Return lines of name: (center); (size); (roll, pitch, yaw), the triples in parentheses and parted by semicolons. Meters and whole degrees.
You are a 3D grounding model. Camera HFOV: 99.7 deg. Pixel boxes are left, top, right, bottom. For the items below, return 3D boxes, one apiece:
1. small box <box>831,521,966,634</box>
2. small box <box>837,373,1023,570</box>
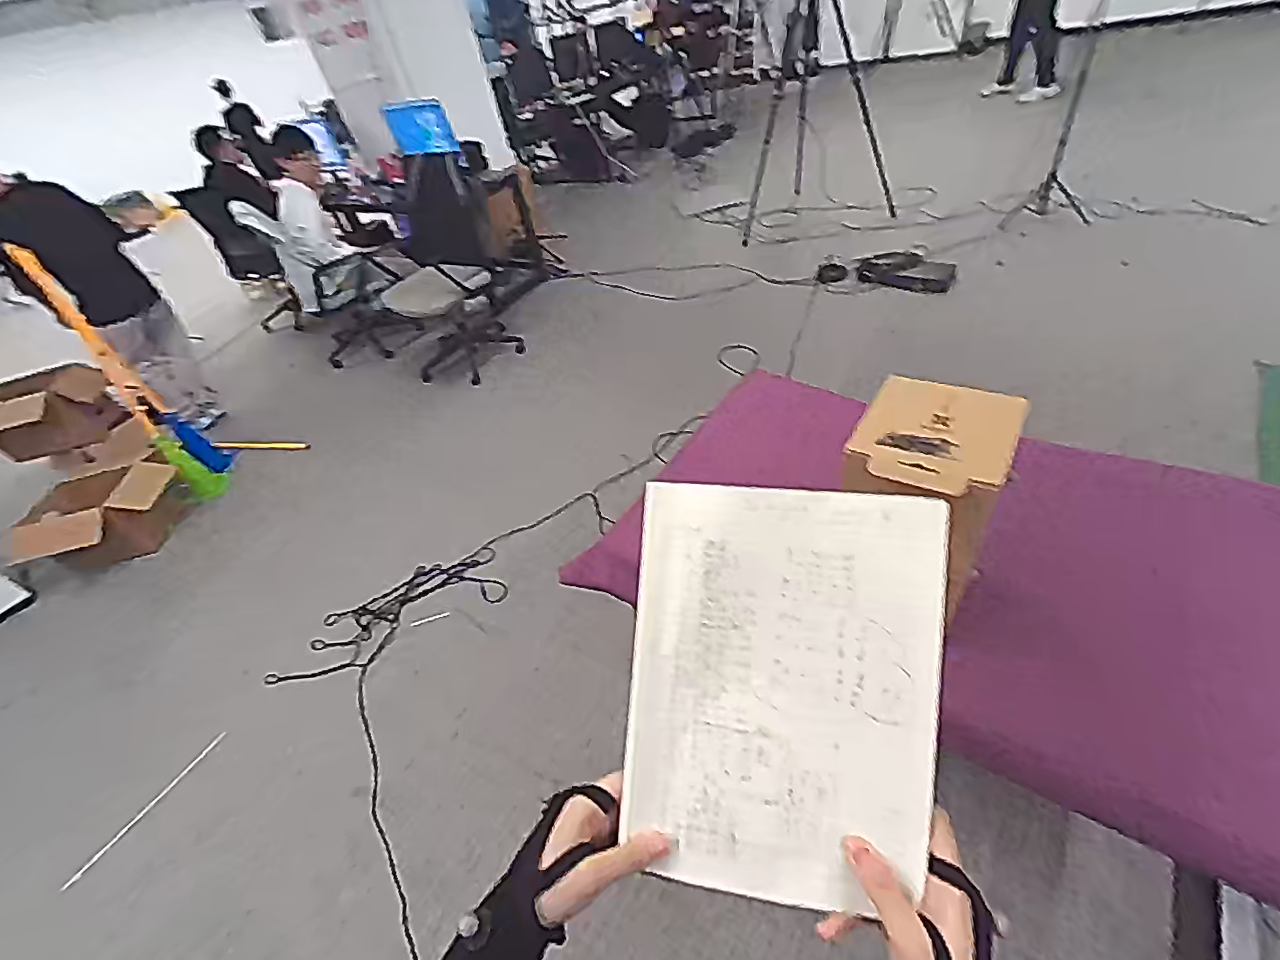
small box: (0.403, 0.102, 0.827); (0.168, 0.176, 0.179); (20, 53, 31)
small box: (0.370, -0.012, 0.711); (0.168, 0.176, 0.179); (20, 51, 31)
